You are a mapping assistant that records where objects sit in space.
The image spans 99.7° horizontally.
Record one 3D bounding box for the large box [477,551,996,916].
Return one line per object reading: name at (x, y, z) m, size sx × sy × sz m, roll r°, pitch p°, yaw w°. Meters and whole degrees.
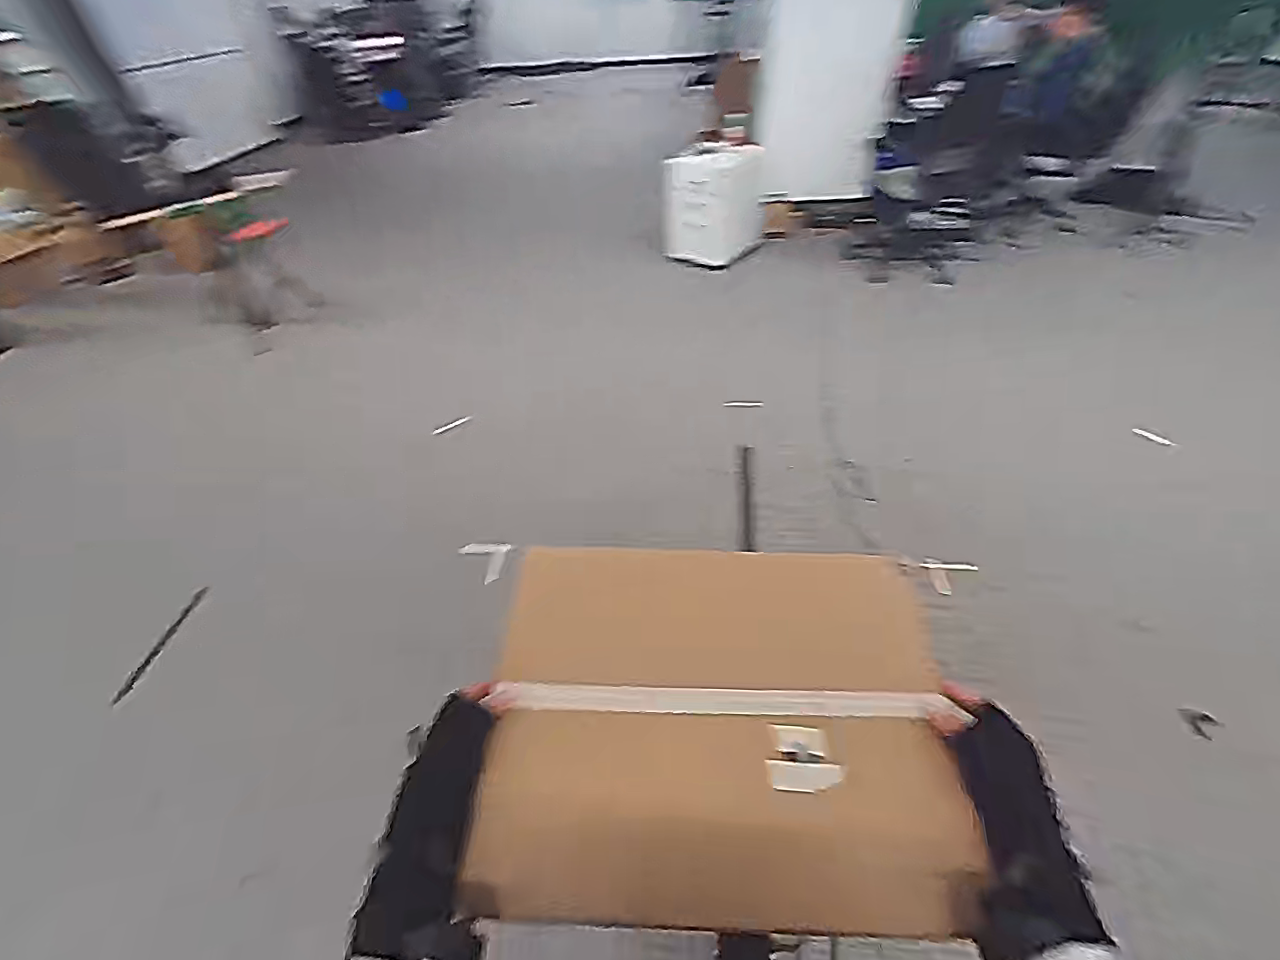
large box at (0.071, 0.294, 0.614) m, size 0.408 × 0.320 × 0.320 m, roll 1°, pitch 52°, yaw 0°
